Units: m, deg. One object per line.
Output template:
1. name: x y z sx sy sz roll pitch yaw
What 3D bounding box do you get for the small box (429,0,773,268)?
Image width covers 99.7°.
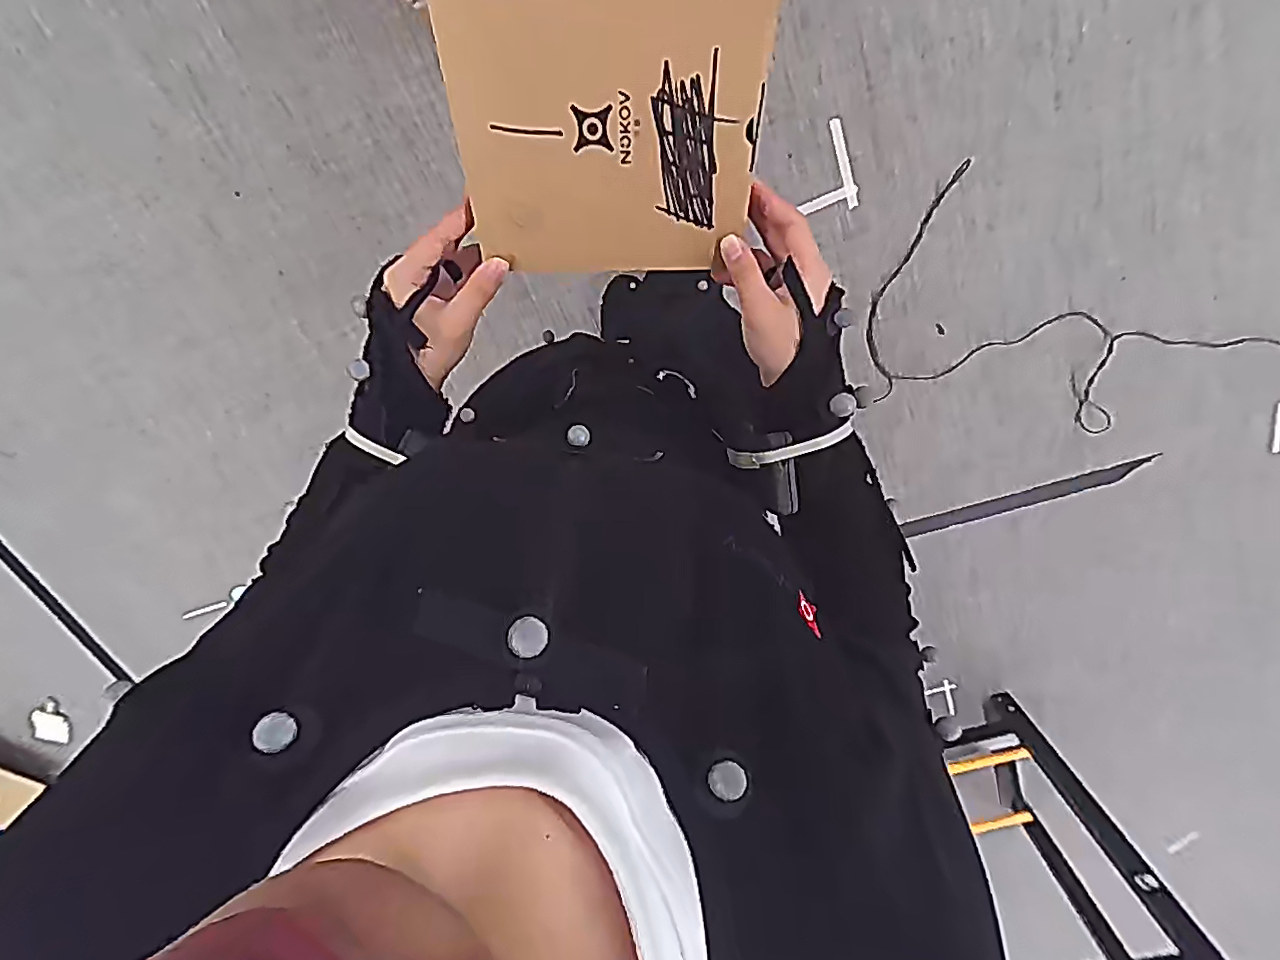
1. small box: -0.021 -0.262 0.368 0.179 0.176 0.168 -1 136 0
